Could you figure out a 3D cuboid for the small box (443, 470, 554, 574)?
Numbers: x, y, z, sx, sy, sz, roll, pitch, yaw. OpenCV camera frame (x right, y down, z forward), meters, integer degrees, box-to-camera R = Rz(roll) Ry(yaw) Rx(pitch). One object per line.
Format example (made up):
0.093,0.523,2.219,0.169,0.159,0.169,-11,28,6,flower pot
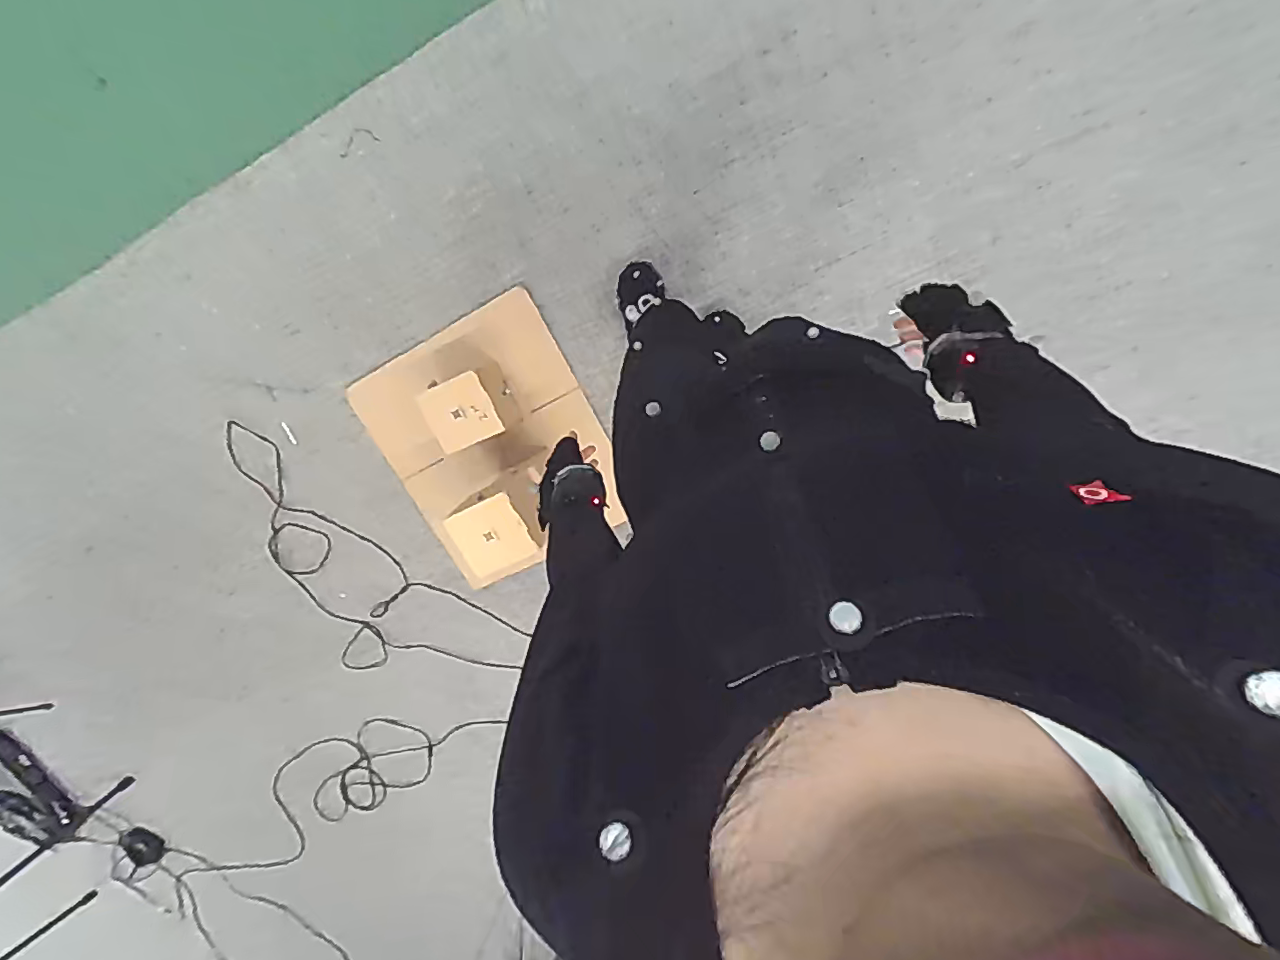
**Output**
-0.334,0.097,1.313,0.179,0.176,0.168,-25,105,13,small box

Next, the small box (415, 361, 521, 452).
-0.435,-0.195,1.398,0.179,0.176,0.168,-21,107,11,small box

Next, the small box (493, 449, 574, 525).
-0.293,0.037,1.461,0.179,0.176,0.168,-27,104,13,small box
